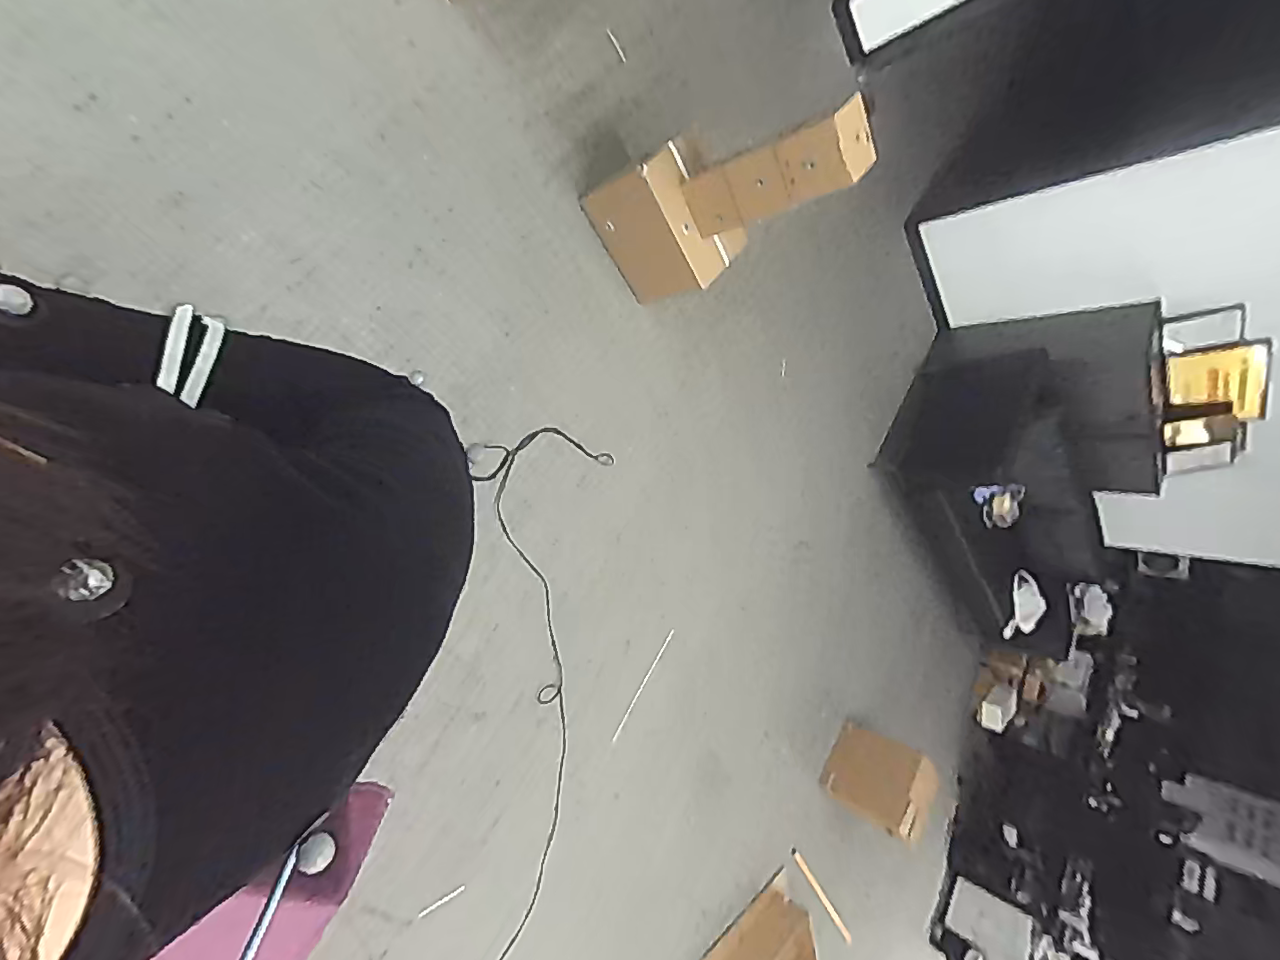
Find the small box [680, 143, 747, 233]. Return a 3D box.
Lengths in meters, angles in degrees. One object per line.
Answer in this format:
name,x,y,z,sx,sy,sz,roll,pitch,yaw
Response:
small box,0.253,-0.877,1.647,0.168,0.176,0.179,-51,124,-28

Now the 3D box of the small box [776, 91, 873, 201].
small box,0.474,-0.859,1.405,0.179,0.176,0.168,-50,124,-28

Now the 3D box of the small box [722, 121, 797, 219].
small box,0.363,-0.864,1.526,0.168,0.176,0.179,-50,123,-29
